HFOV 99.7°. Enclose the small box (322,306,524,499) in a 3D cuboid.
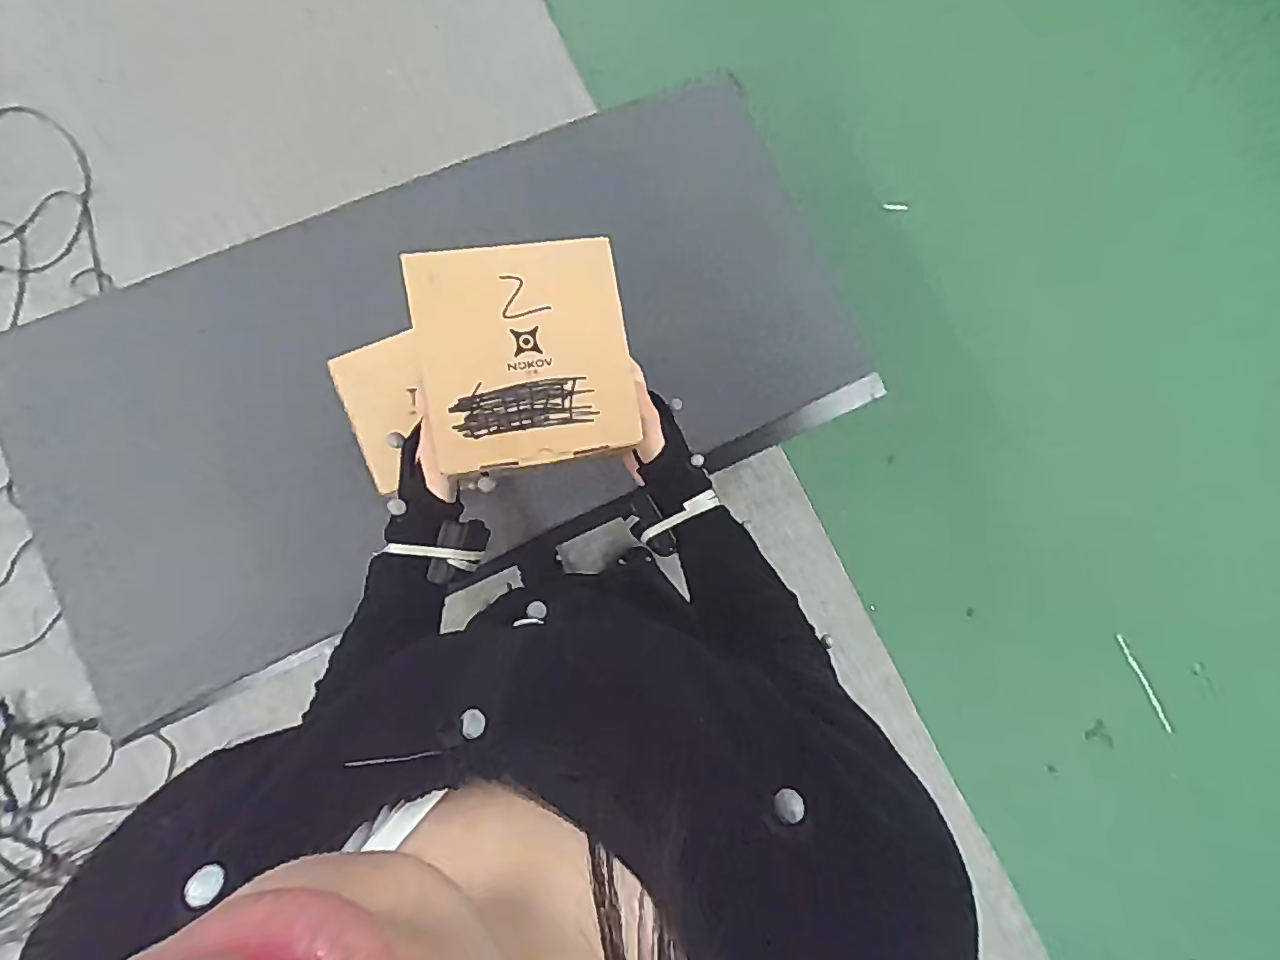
[{"bbox_3d":[-0.265,-0.088,0.700,0.168,0.176,0.179,-23,86,-6],"label":"small box"}]
